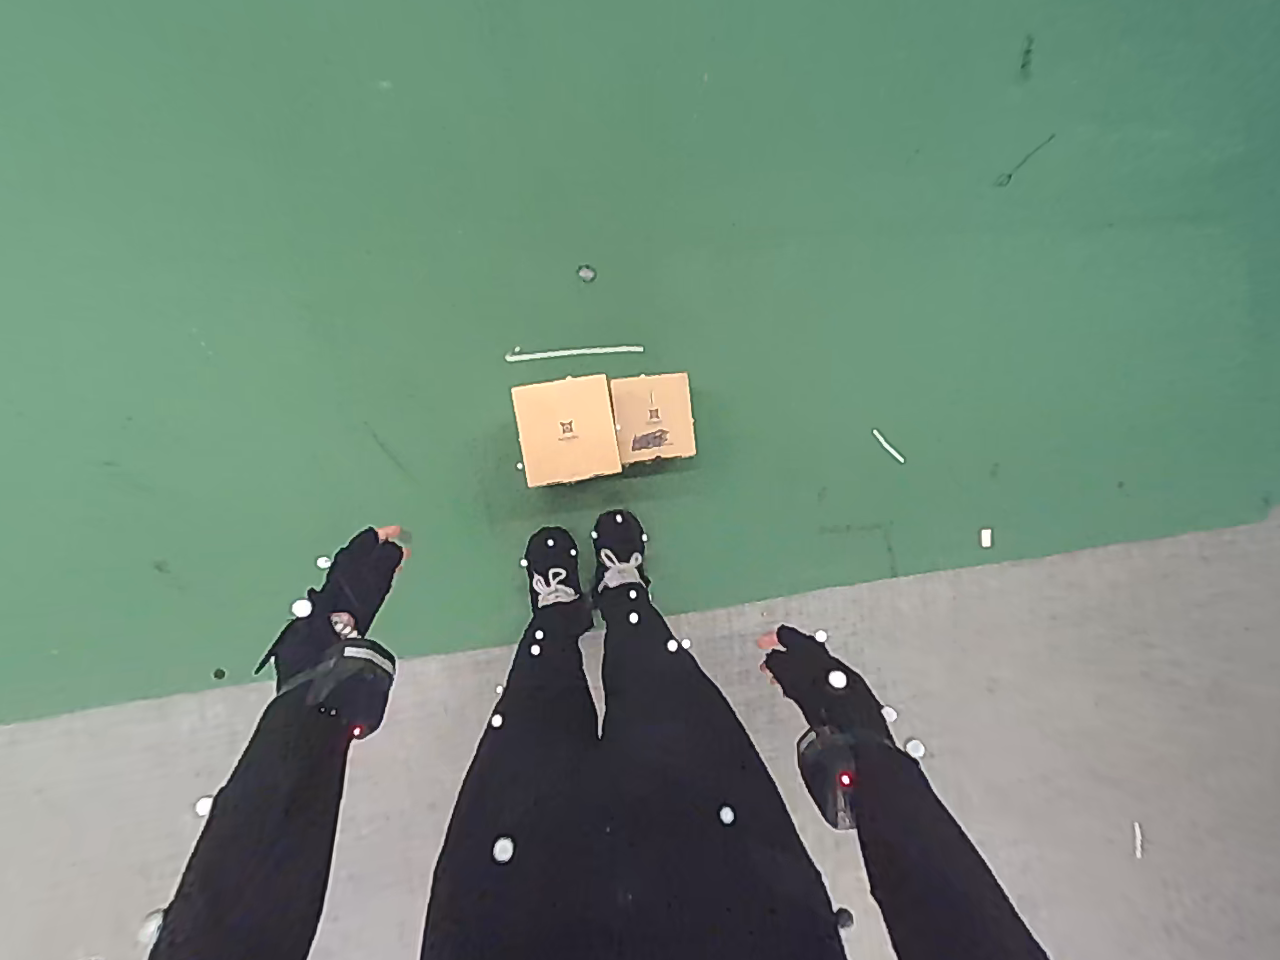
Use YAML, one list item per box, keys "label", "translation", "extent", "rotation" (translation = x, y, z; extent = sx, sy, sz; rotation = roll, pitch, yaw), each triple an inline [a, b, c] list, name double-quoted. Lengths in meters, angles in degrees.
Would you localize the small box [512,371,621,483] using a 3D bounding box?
- label: "small box"
  translation: [-0.139, -0.095, 1.008]
  extent: [0.168, 0.176, 0.179]
  rotation: [-10, 95, -8]
